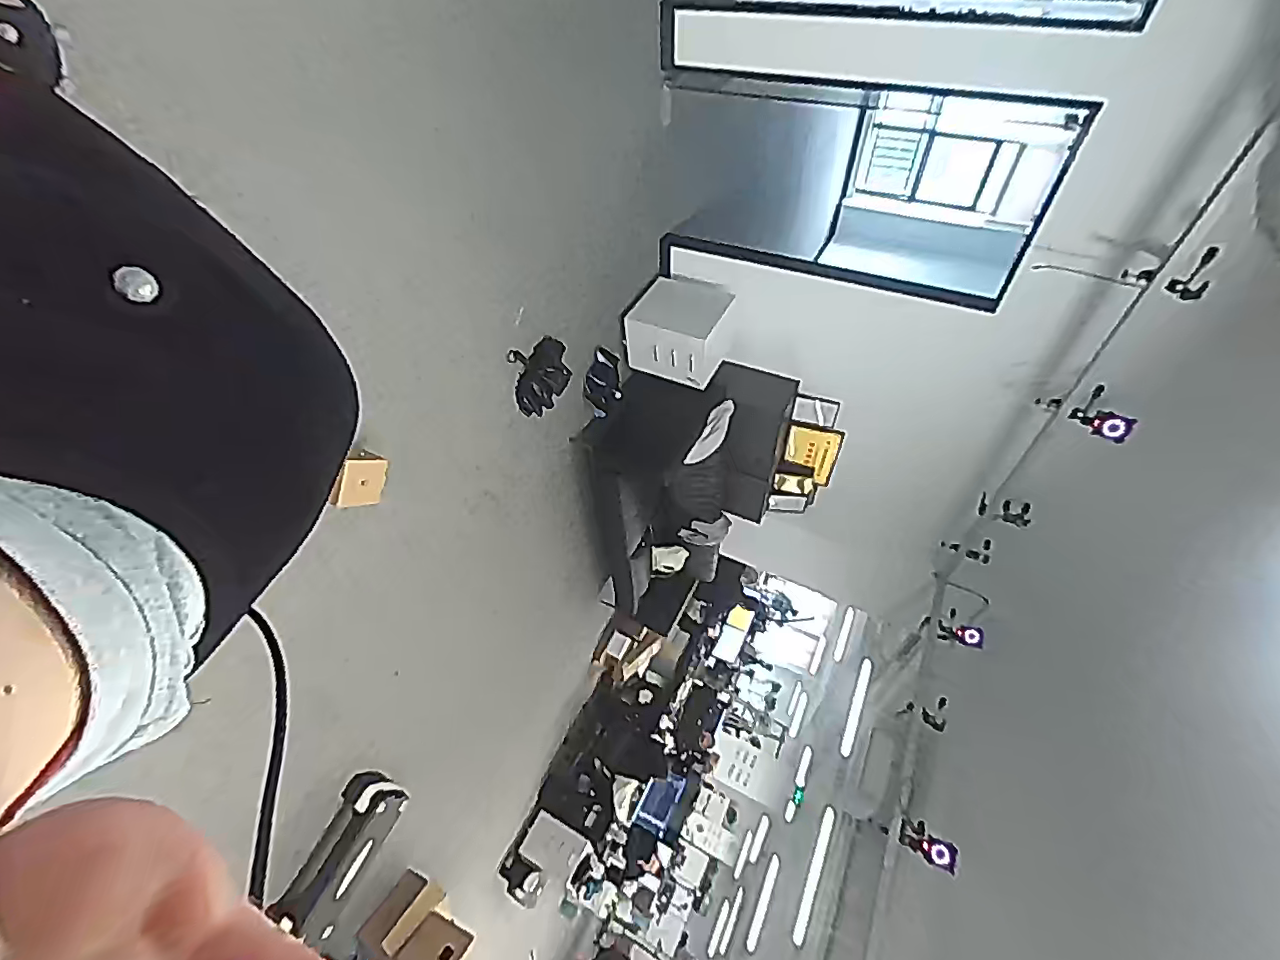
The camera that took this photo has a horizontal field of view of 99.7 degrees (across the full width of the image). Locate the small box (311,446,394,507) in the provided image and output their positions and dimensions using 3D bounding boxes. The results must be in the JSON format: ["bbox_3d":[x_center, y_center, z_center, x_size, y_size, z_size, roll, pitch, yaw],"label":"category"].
[{"bbox_3d":[-0.992,-0.018,1.868,0.179,0.176,0.168,-9,116,-67],"label":"small box"}]
